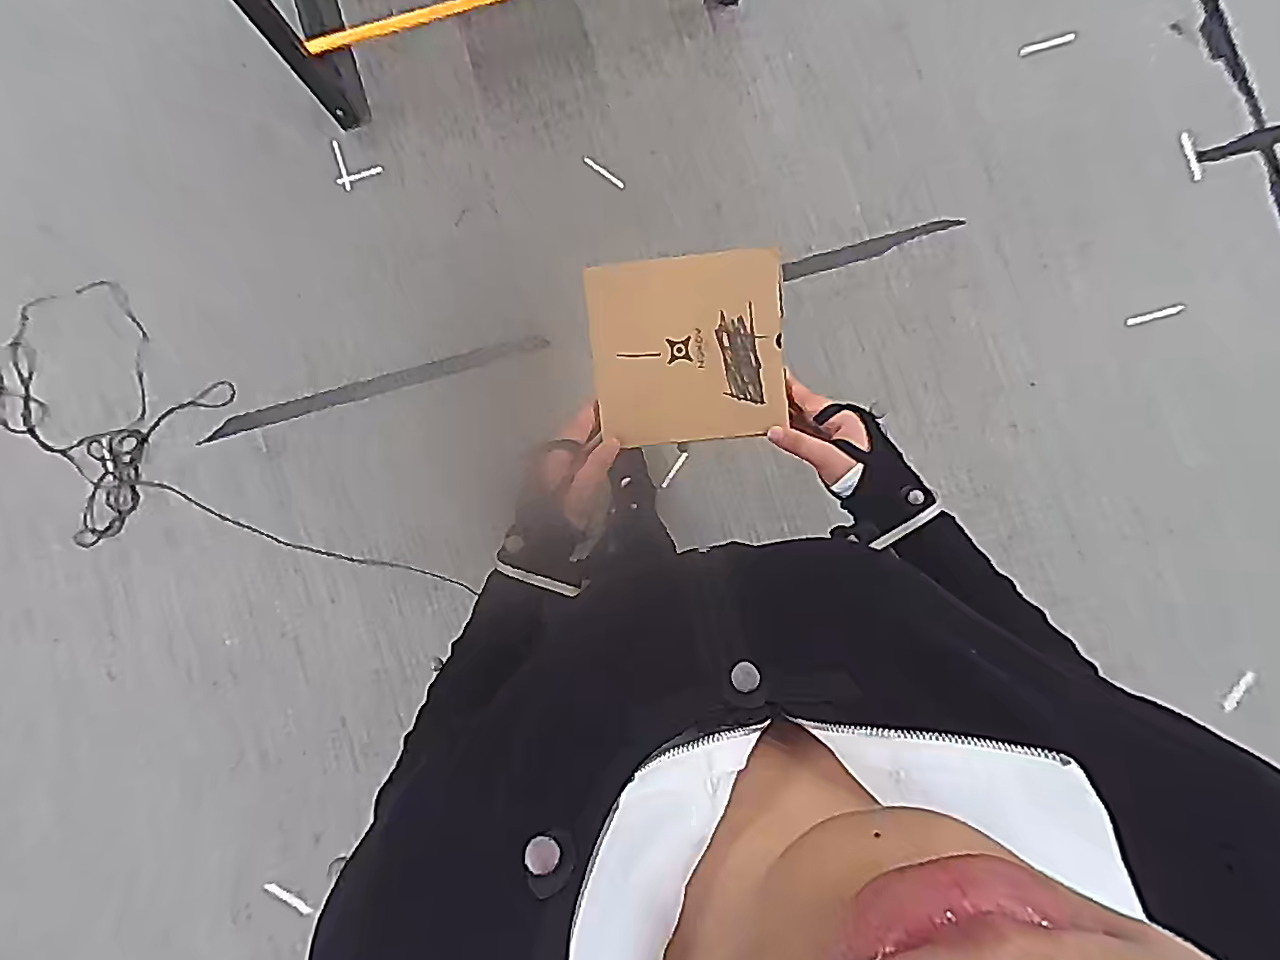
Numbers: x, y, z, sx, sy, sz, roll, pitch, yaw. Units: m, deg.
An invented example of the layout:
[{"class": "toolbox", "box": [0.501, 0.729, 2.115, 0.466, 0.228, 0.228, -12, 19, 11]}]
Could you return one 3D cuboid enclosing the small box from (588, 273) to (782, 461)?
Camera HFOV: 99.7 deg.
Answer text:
[{"class": "small box", "box": [0.044, -0.117, 0.589, 0.179, 0.176, 0.168, -5, 98, 2]}]
